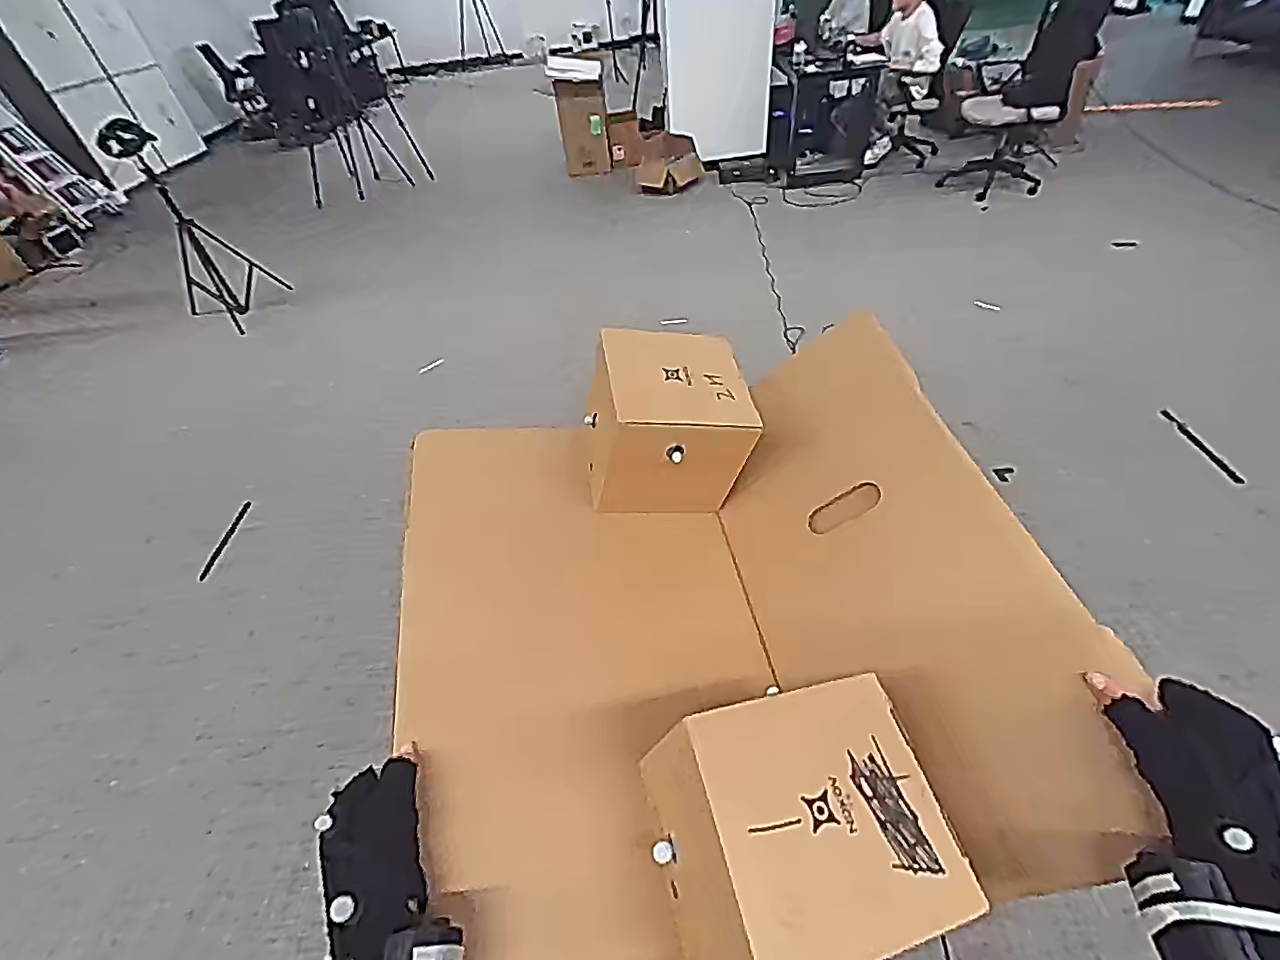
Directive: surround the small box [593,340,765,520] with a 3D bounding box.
[{"bbox_3d":[0.035,-0.060,0.708,0.179,0.176,0.168,2,51,-15],"label":"small box"}]
